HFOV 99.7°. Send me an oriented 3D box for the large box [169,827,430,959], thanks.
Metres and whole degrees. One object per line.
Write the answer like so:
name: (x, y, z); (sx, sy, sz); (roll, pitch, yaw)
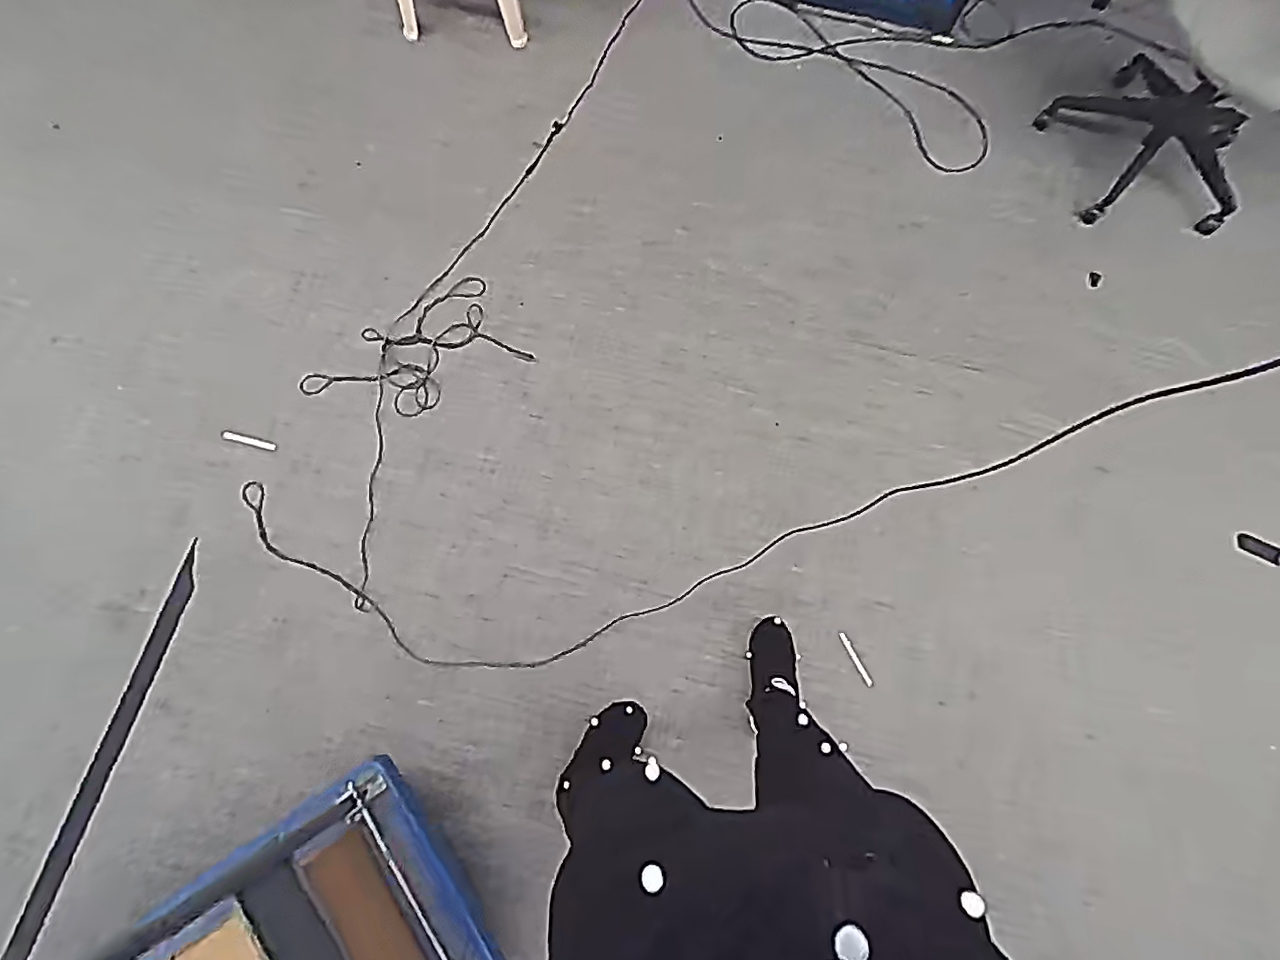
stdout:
large box: (-0.541, 0.856, 0.823); (0.320, 0.320, 0.408); (-34, 79, -11)
